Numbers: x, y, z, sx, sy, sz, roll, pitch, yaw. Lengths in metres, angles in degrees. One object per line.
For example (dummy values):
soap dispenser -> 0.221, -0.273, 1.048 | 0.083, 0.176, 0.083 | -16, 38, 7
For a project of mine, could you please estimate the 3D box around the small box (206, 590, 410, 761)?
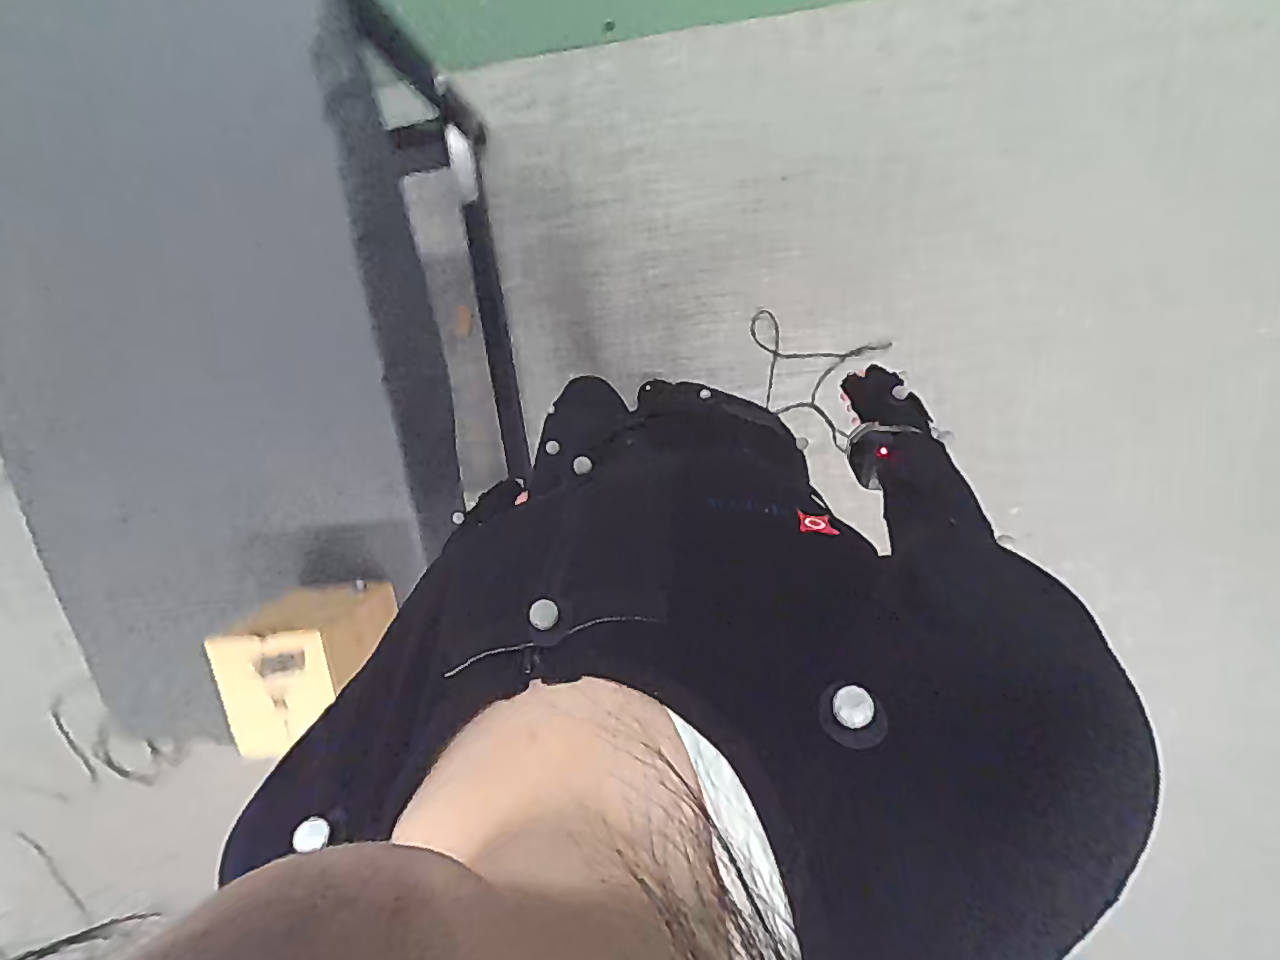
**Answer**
small box -> -0.462, 0.269, 0.781 | 0.168, 0.176, 0.179 | -7, 101, 7
